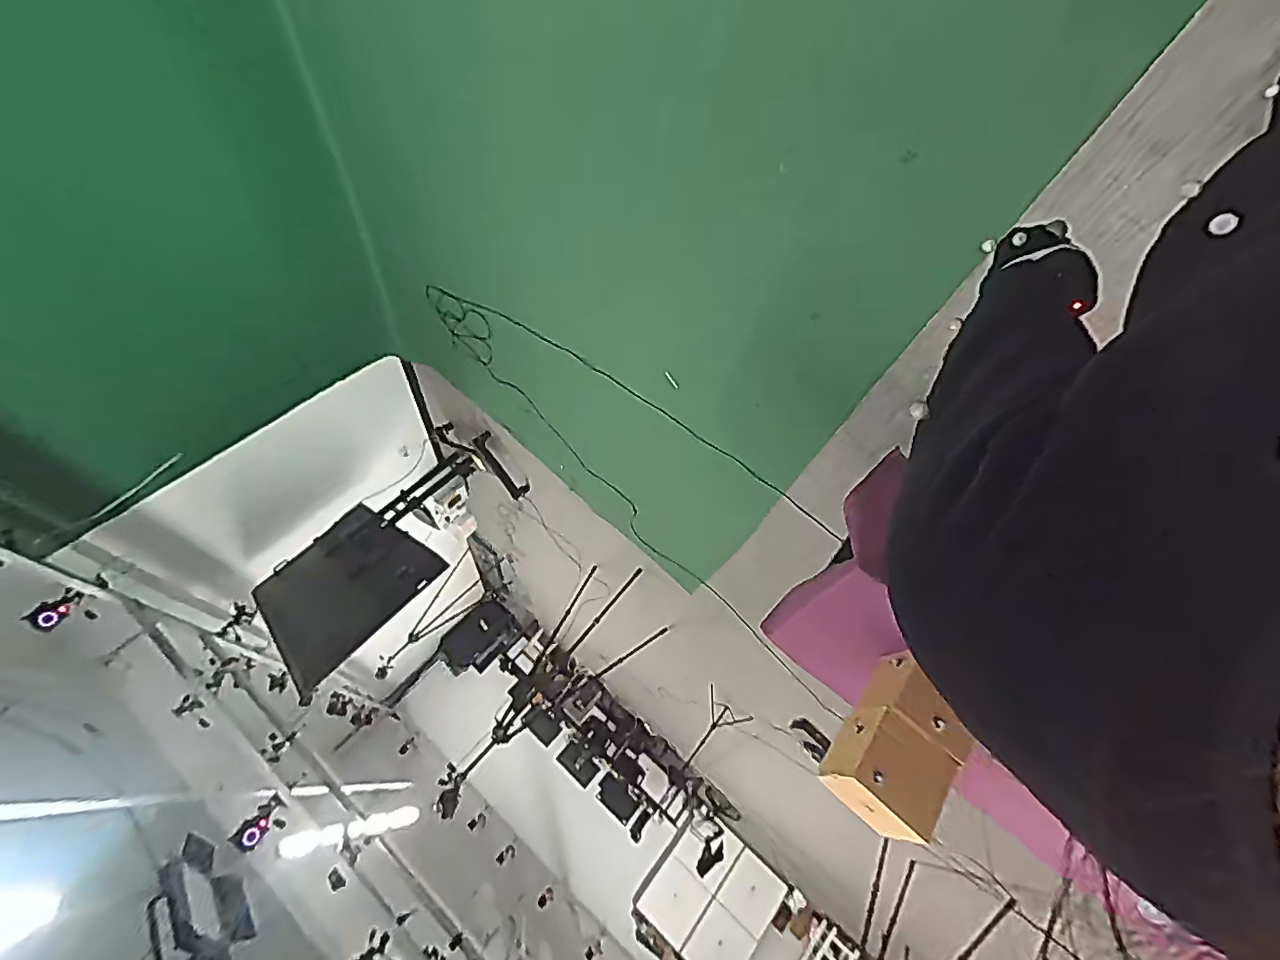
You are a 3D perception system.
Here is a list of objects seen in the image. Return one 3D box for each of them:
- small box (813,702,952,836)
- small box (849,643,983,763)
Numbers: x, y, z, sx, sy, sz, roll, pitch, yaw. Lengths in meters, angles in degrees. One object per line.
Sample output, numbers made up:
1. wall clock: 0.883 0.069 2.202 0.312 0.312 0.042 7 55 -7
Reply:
1. small box: 0.505 0.594 1.127 0.179 0.176 0.168 40 152 11
2. small box: 0.610 0.490 1.195 0.179 0.176 0.168 41 152 9
